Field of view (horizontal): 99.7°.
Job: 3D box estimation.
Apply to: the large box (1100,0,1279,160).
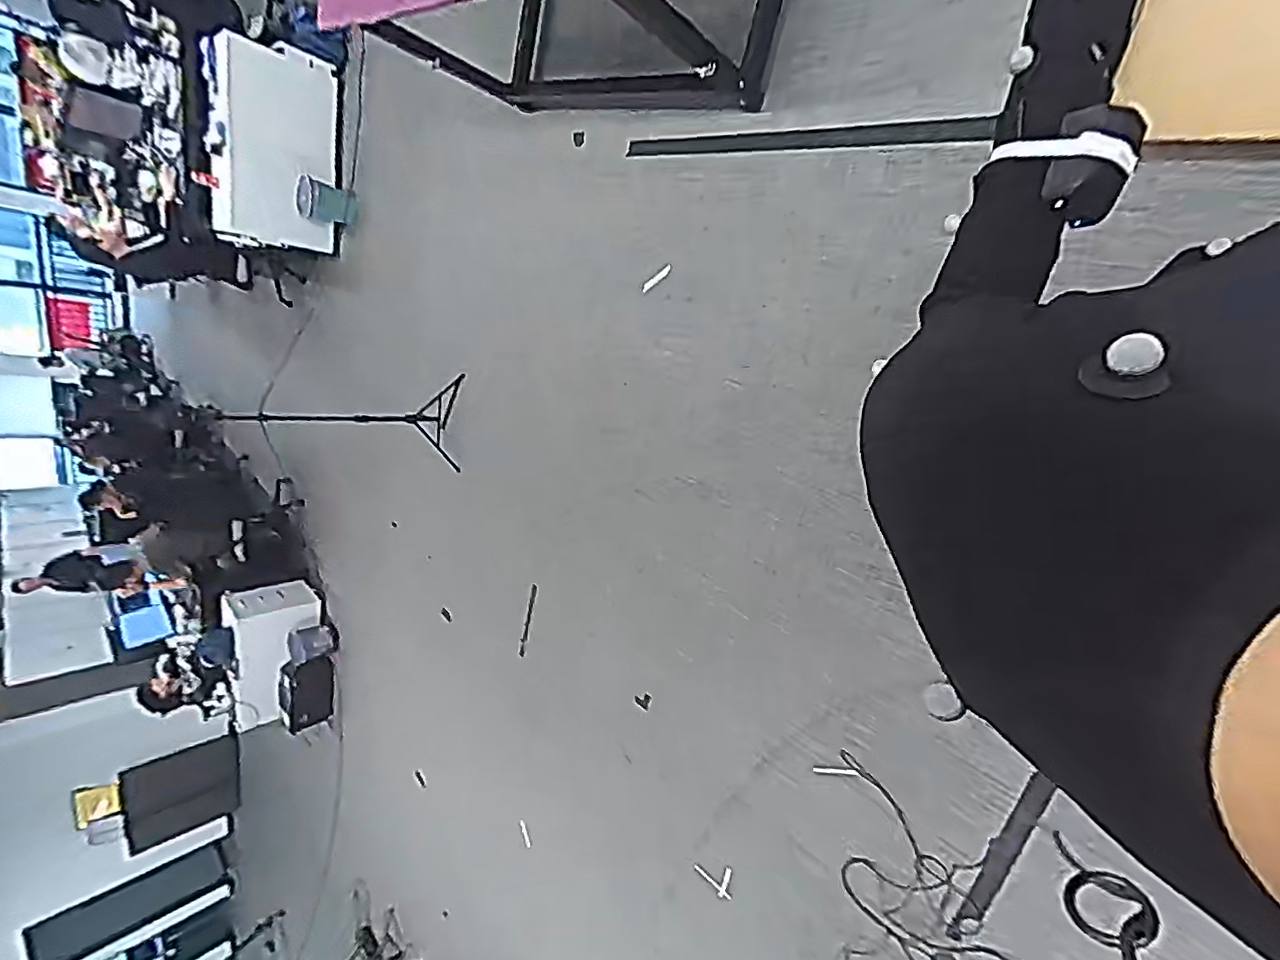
[{"bbox_3d":[0.600,-0.387,0.334,0.408,0.320,0.320,24,127,34],"label":"large box"}]
